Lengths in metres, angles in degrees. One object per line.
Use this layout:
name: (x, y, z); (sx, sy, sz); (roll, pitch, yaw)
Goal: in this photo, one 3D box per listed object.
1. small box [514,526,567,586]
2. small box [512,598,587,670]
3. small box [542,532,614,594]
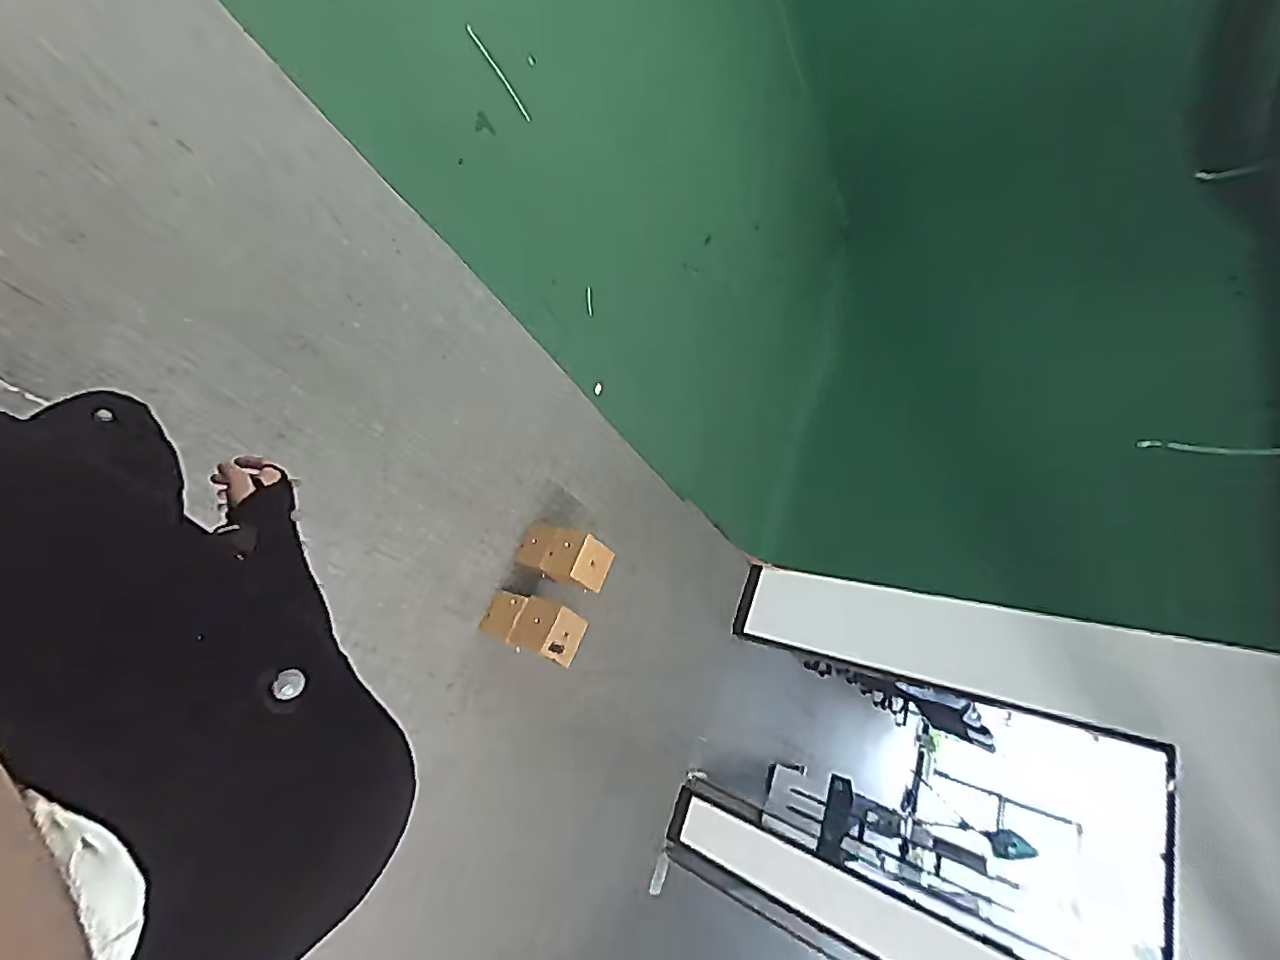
small box: (-0.357, 0.291, 2.110); (0.179, 0.176, 0.168); (48, 59, -42)
small box: (-0.325, 0.541, 1.913); (0.168, 0.176, 0.179); (50, 56, -42)
small box: (-0.233, 0.303, 2.006); (0.179, 0.176, 0.168); (45, 60, -43)
